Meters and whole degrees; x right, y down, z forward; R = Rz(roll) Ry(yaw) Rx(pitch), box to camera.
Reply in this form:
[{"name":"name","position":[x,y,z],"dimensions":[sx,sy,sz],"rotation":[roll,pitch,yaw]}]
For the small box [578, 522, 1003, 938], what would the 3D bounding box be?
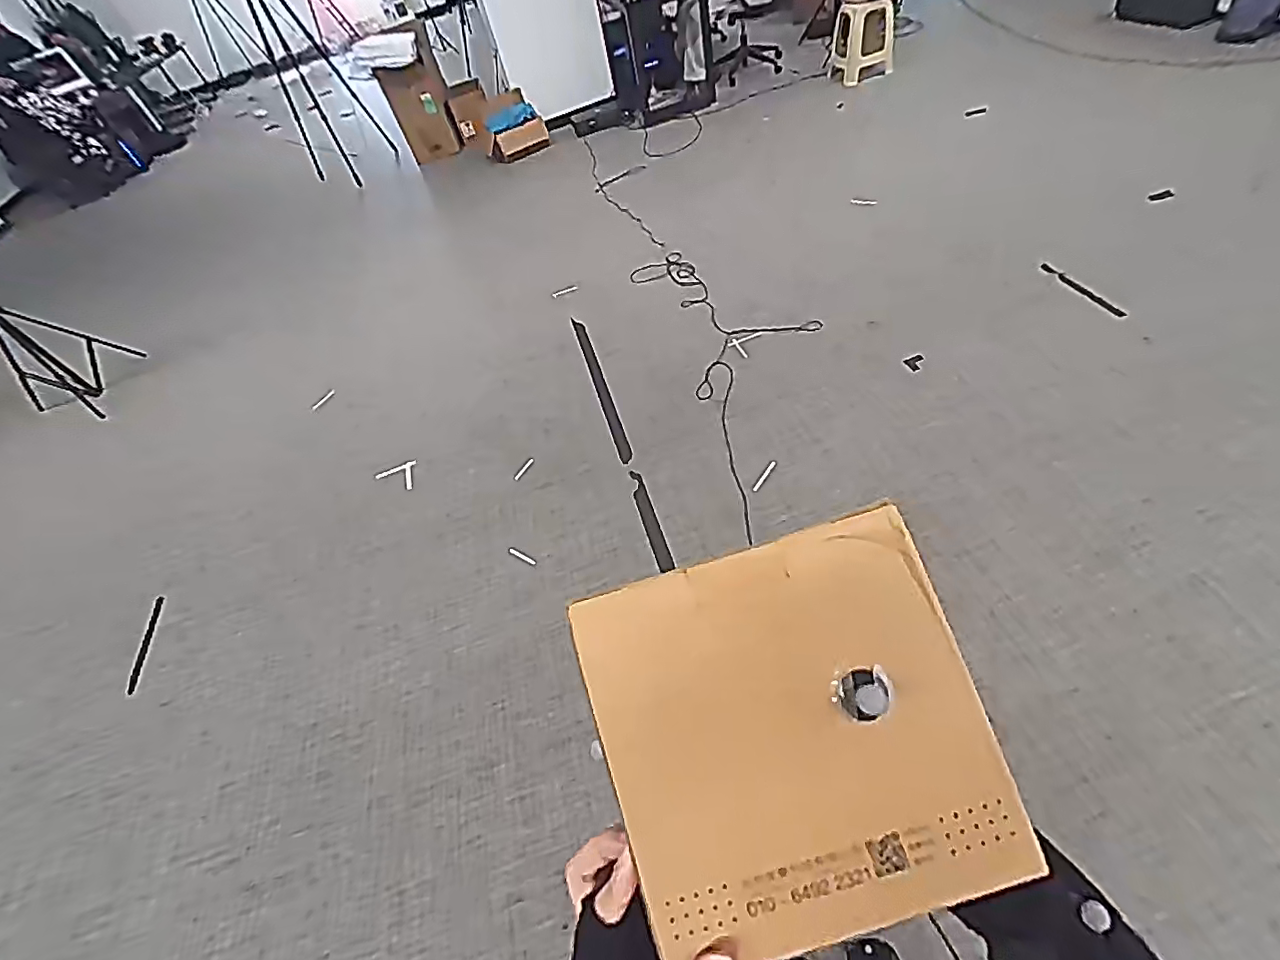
[{"name":"small box","position":[0.076,0.138,0.337],"dimensions":[0.168,0.179,0.176],"rotation":[-18,79,1]}]
